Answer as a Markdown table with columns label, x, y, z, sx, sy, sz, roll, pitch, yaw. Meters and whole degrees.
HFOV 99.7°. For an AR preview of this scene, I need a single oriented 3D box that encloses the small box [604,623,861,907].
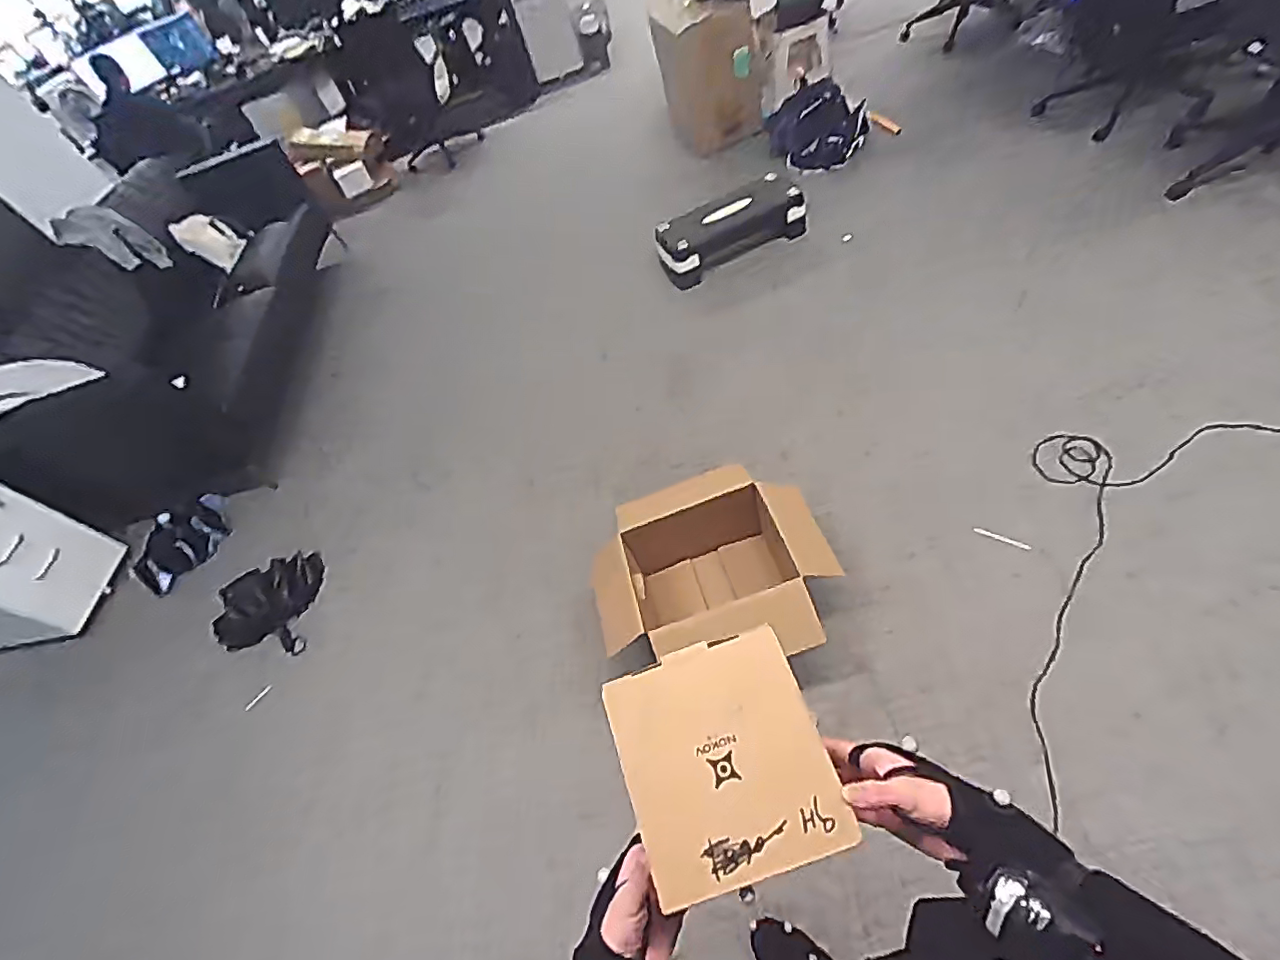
| label | x | y | z | sx | sy | sz | roll | pitch | yaw |
| --- | --- | --- | --- | --- | --- | --- | --- | --- | --- |
| small box | 0.081 | 0.261 | 0.518 | 0.168 | 0.176 | 0.179 | -21 | 63 | 2 |
